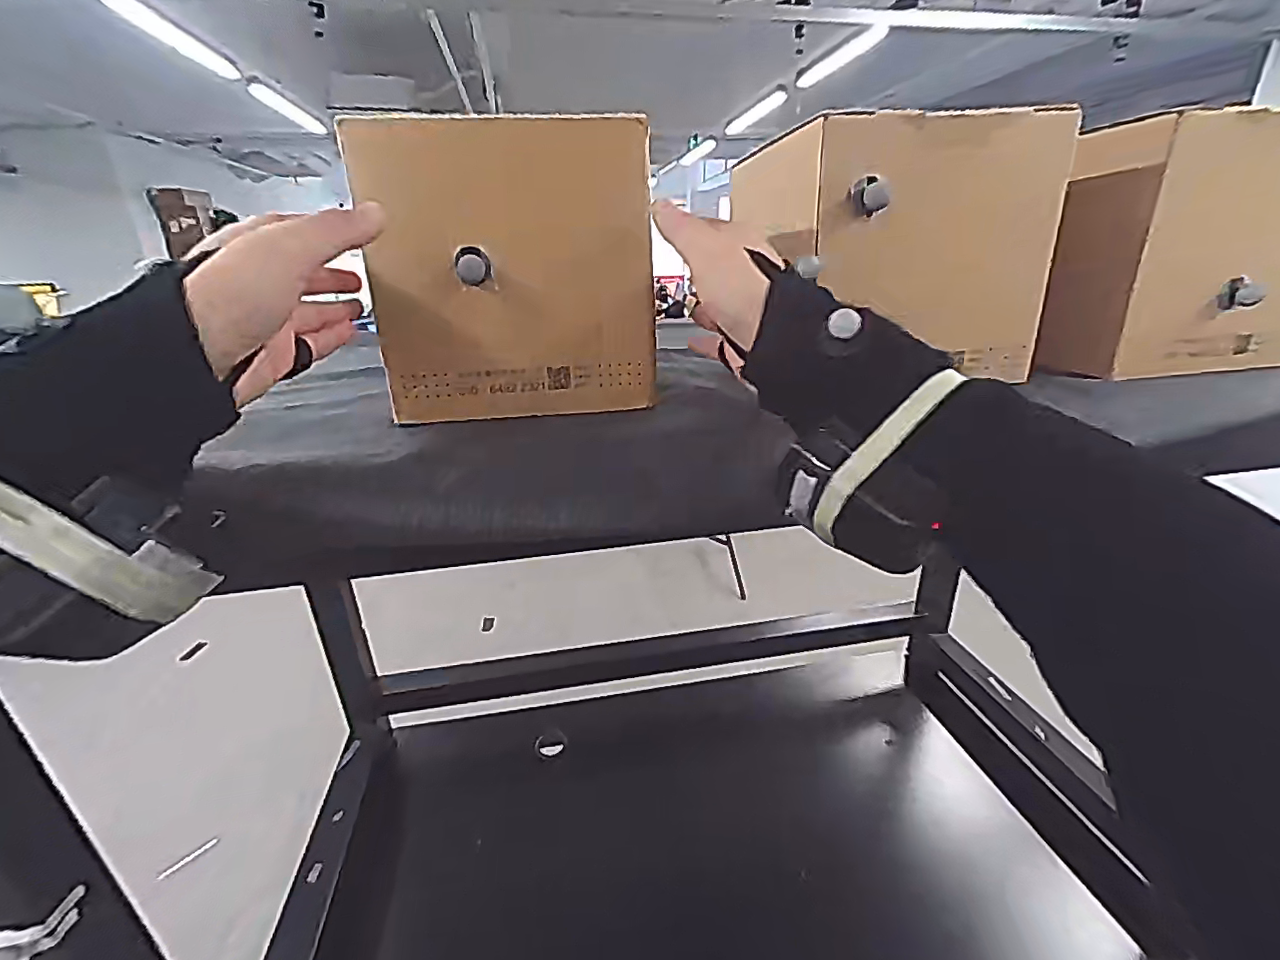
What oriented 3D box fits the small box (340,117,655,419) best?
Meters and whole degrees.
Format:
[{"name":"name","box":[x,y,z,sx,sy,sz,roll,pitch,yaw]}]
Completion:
[{"name":"small box","box":[-0.083,-0.142,0.393,0.168,0.176,0.179,-5,21,-6]}]

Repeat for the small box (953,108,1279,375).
[{"name":"small box","box":[0.394,-0.184,0.445,0.168,0.176,0.179,-6,22,-7]}]
